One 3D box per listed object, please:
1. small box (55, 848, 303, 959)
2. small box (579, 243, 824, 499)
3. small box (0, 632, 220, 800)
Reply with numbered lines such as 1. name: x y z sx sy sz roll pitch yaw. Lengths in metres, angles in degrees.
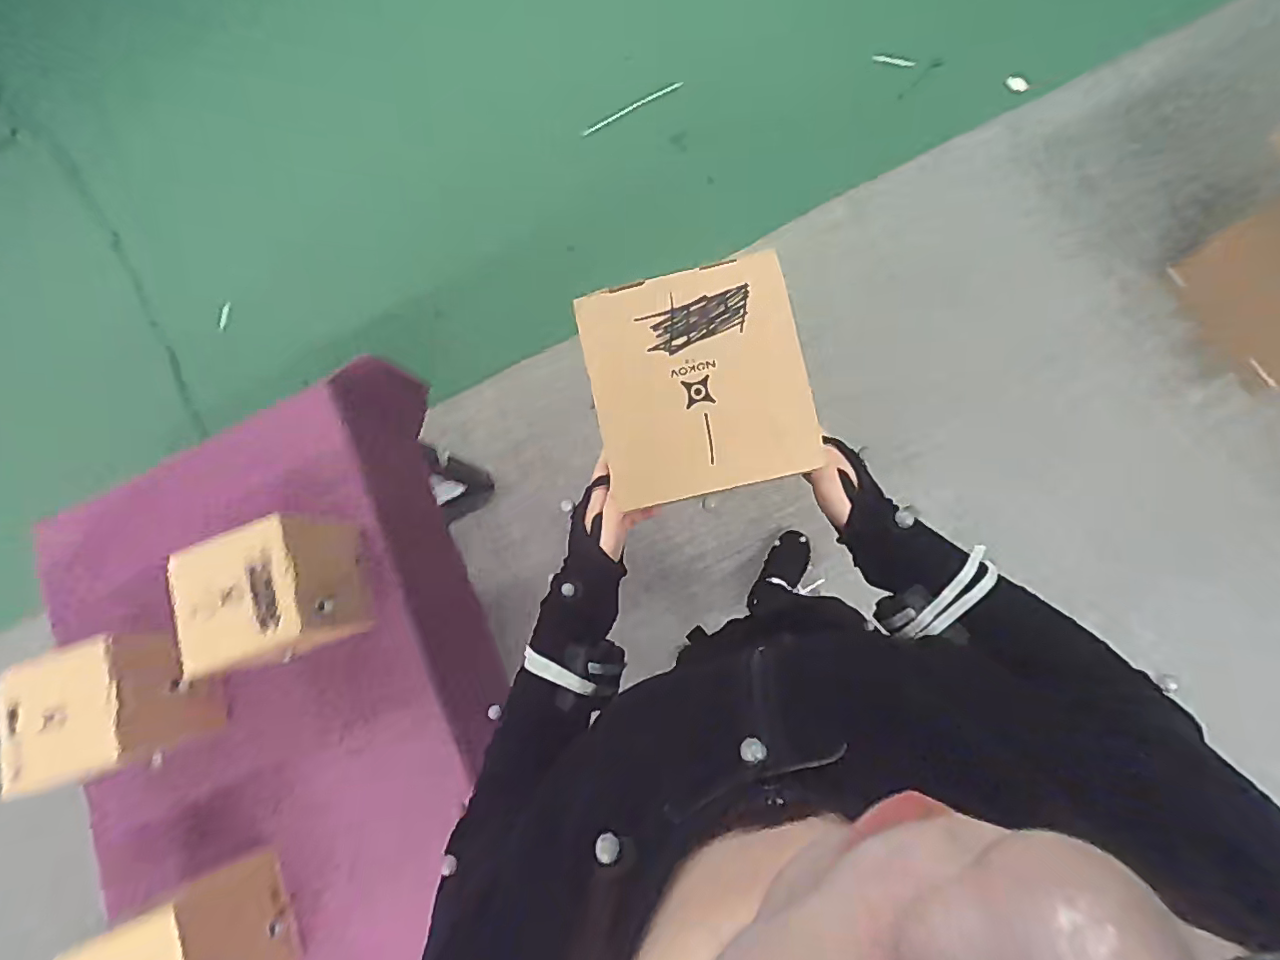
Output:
1. small box: -0.599 0.639 0.718 0.179 0.176 0.168 -25 77 2
2. small box: 0.052 -0.082 0.498 0.168 0.176 0.179 -12 87 5
3. small box: -0.764 0.332 0.798 0.179 0.176 0.168 -20 76 3
